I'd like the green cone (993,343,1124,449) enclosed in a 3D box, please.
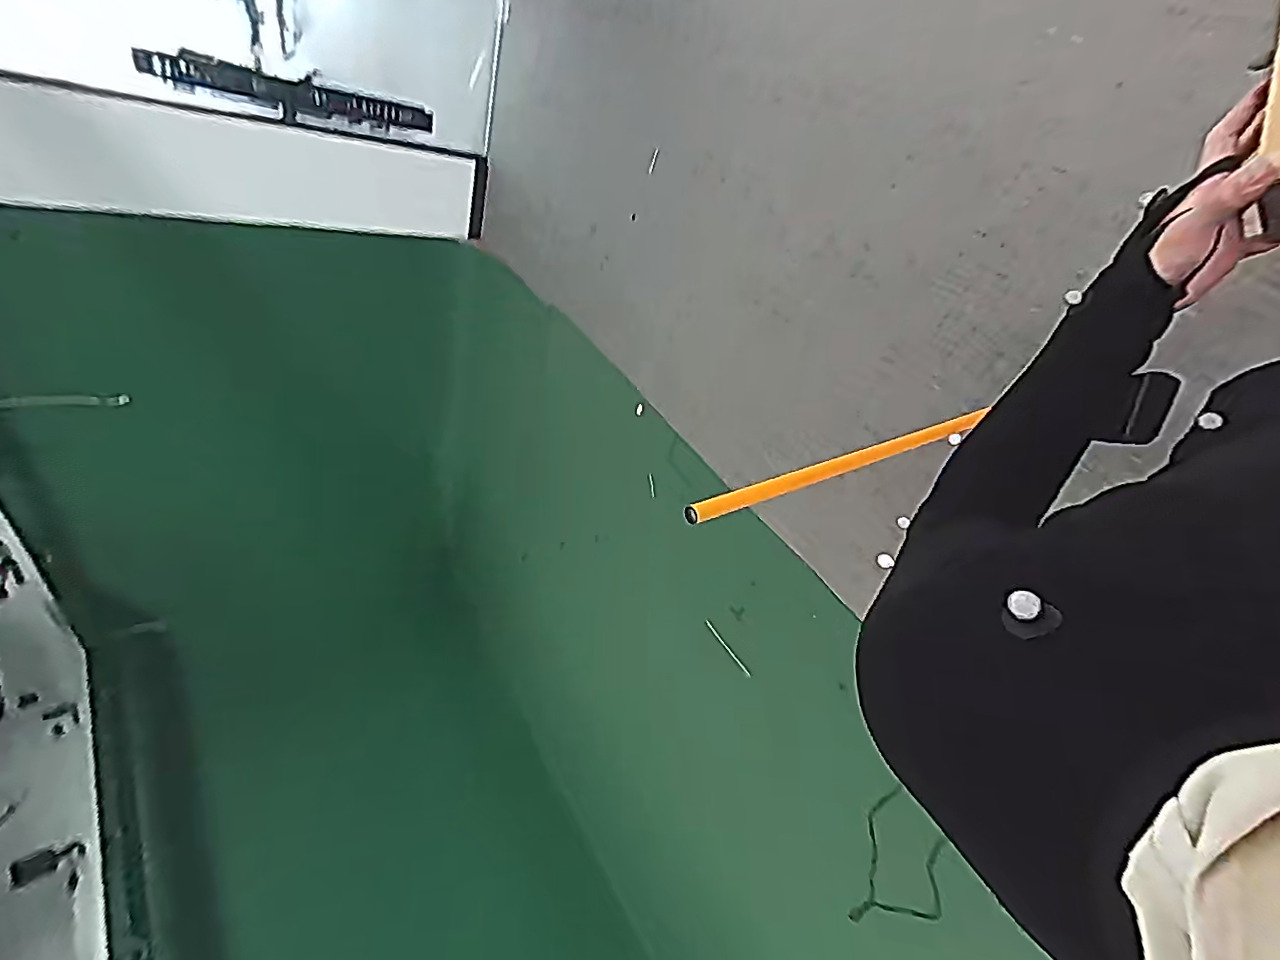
[{"bbox_3d":[0.878,-0.169,1.208,0.202,0.368,0.200,50,135,28],"label":"green cone"}]
